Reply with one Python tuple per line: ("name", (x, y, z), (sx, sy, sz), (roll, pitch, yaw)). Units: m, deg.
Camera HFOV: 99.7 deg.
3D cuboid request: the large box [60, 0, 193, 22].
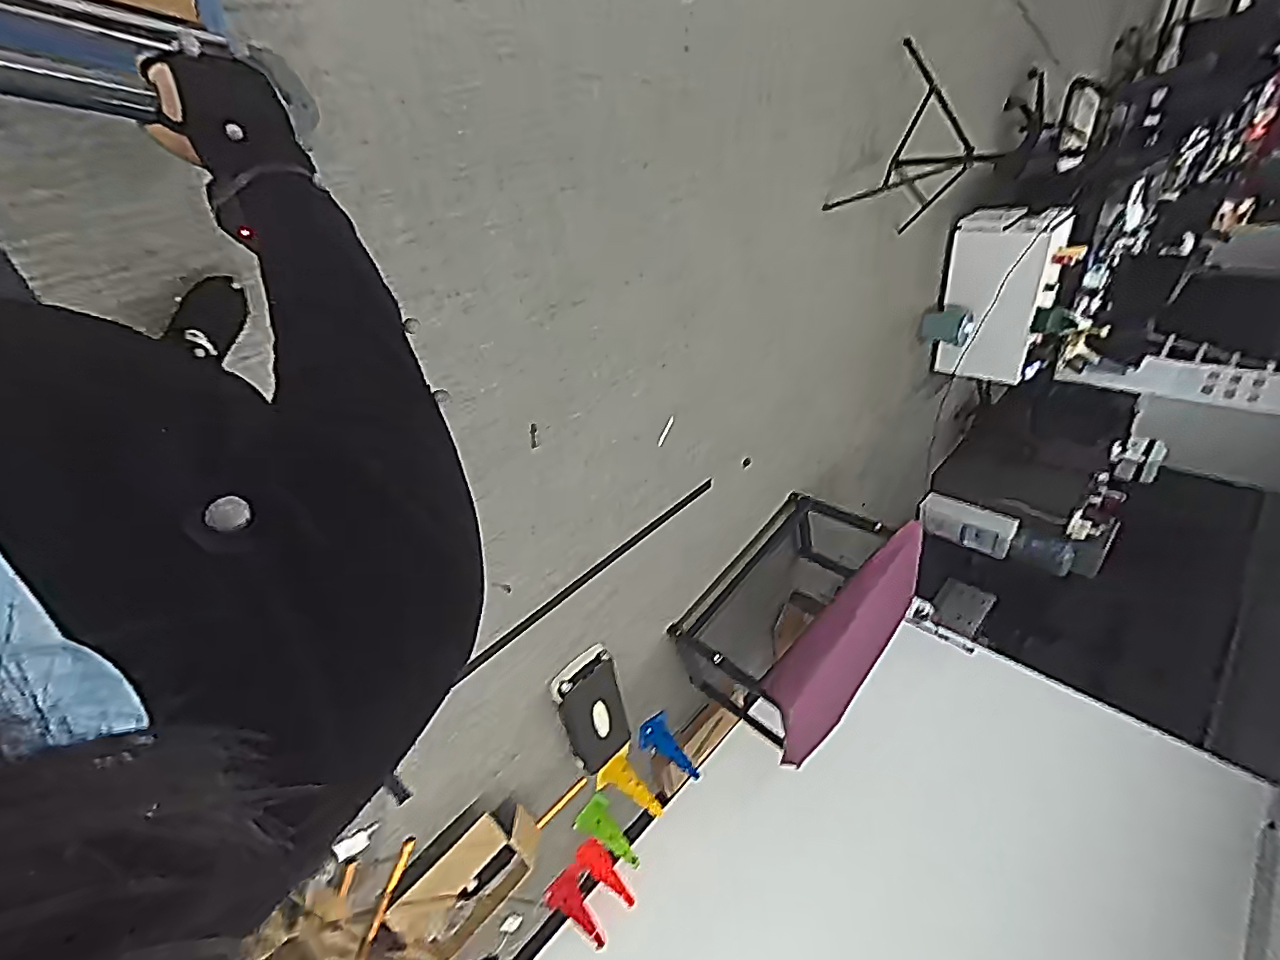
("large box", (-0.803, -0.759, 0.590), (0.408, 0.320, 0.320), (-17, 131, -41))
